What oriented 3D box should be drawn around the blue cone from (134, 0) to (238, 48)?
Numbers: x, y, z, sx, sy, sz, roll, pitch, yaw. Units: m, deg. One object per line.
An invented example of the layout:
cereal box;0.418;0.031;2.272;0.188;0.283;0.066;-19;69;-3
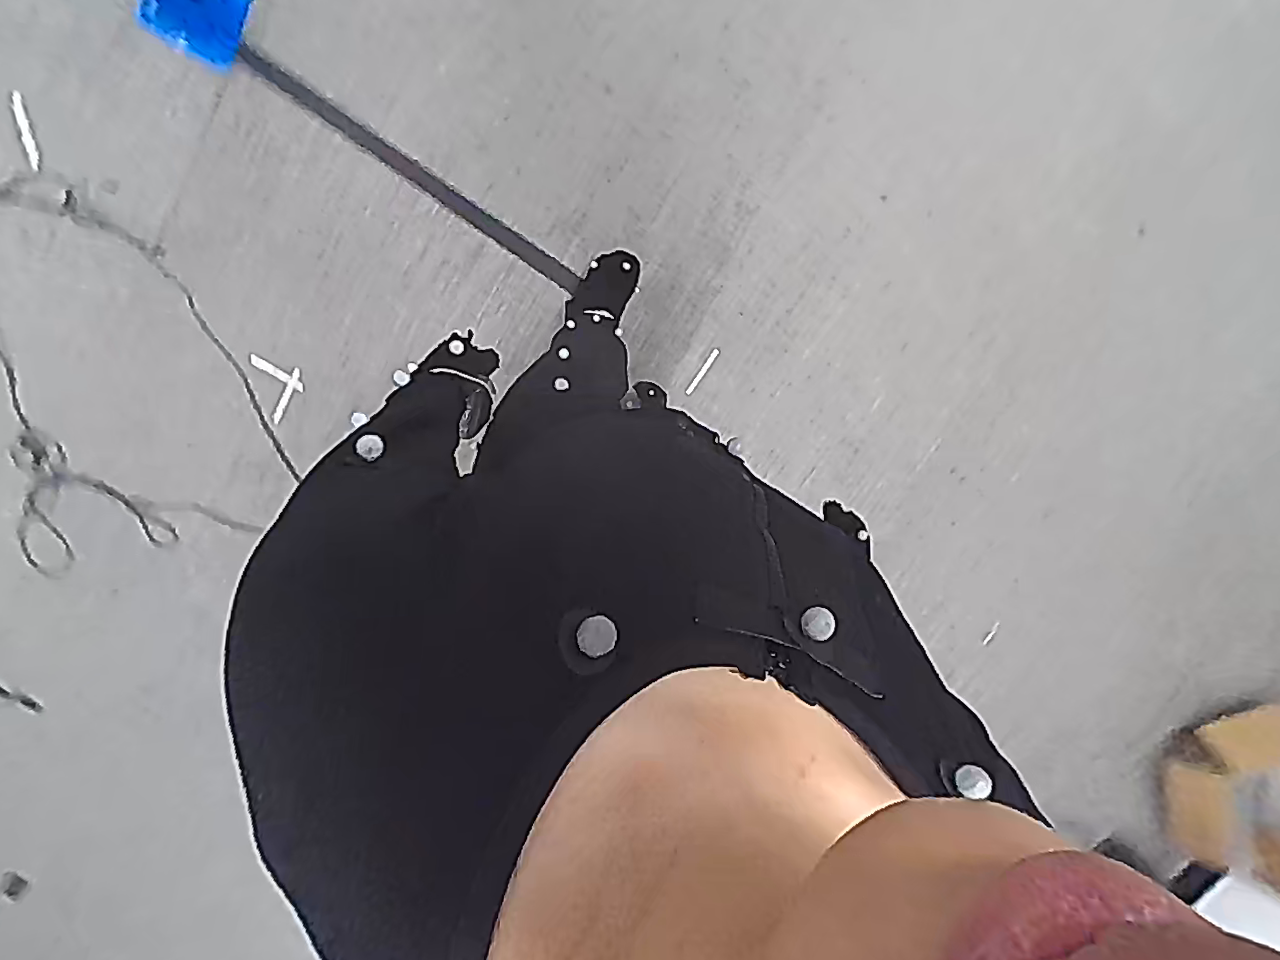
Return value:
blue cone;-0.946;-1.006;0.990;0.193;0.380;0.192;29;100;-11
